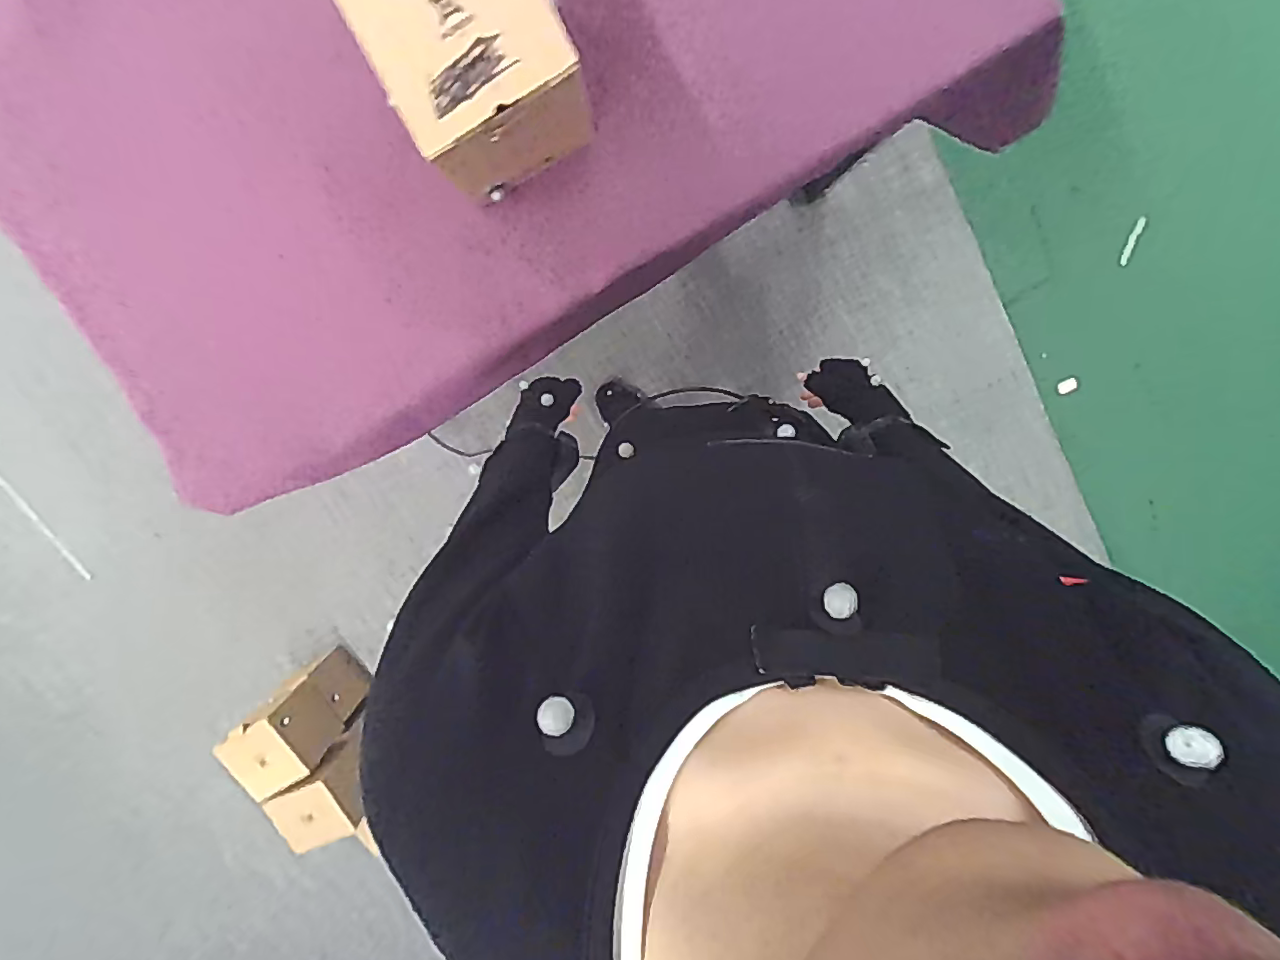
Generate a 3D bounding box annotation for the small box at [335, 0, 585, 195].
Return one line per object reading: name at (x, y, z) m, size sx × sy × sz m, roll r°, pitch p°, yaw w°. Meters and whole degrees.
small box at (-0.170, -0.427, 0.563) m, size 0.168 × 0.176 × 0.179 m, roll -28°, pitch 100°, yaw 5°
